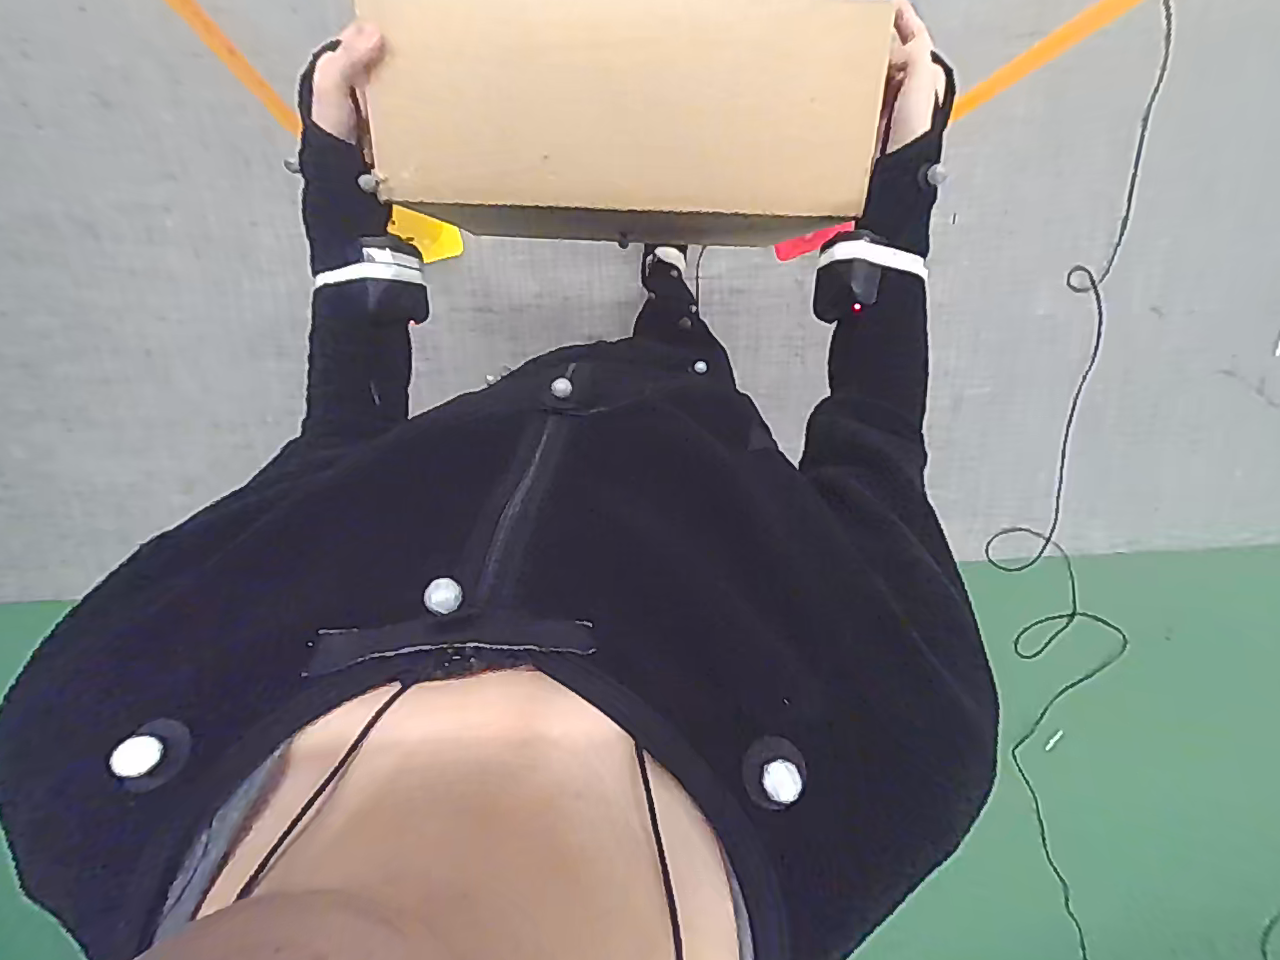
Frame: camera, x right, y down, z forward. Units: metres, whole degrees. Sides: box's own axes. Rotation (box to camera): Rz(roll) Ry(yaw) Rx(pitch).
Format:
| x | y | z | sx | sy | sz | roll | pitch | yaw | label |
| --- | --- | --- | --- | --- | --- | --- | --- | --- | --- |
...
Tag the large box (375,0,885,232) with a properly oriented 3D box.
| x | y | z | sx | sy | sz | roll | pitch | yaw | label |
| --- | --- | --- | --- | --- | --- | --- | --- | --- | --- |
| -0.007 | -0.435 | 0.553 | 0.408 | 0.320 | 0.320 | 1 | 109 | -2 | large box |
